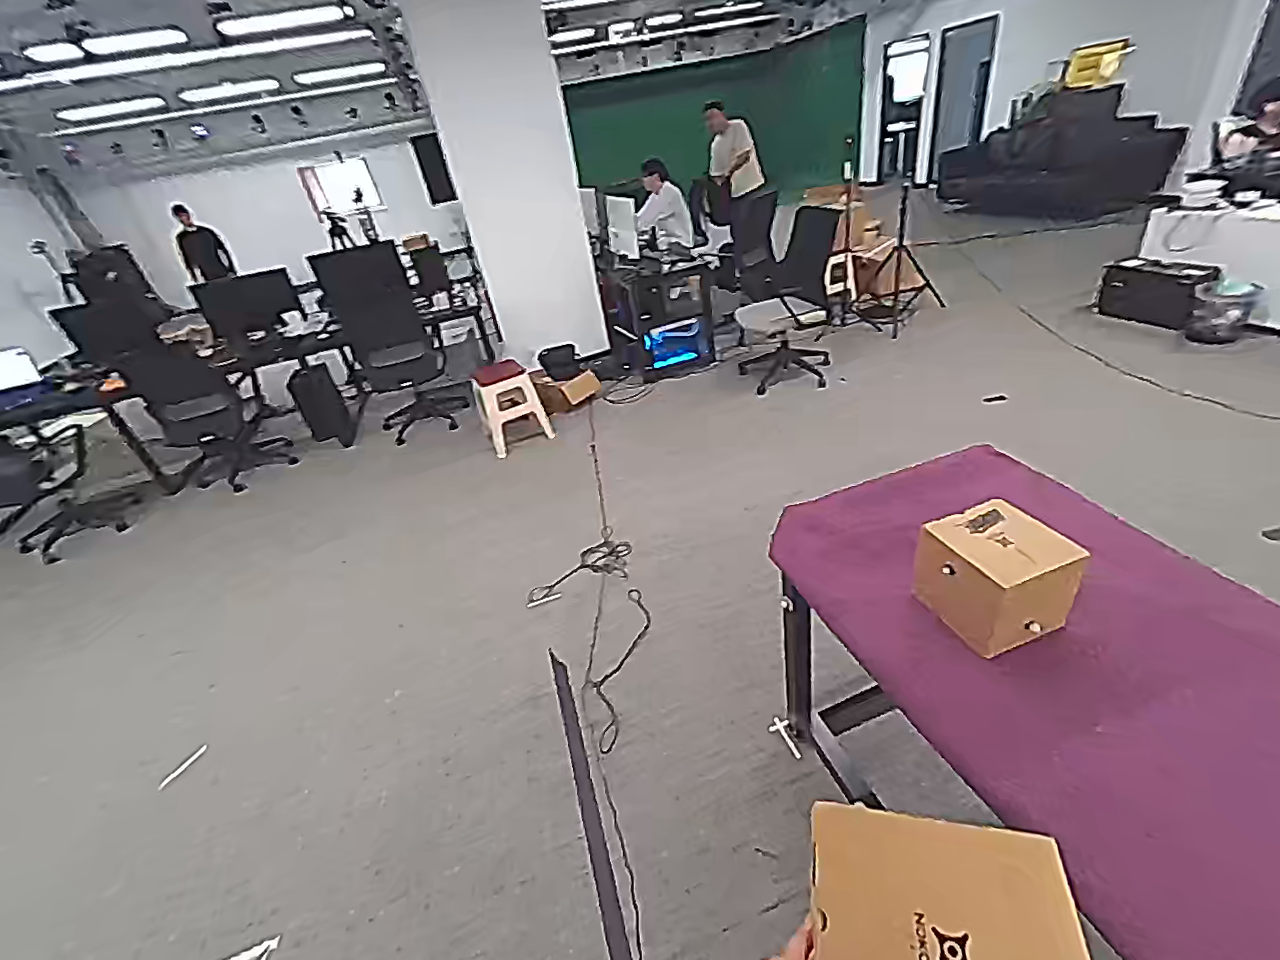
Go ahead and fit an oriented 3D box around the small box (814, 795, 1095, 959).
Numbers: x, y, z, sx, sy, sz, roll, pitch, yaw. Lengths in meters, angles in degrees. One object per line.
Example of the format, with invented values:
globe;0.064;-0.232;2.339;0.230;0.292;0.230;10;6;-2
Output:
small box;0.230;0.380;0.422;0.179;0.176;0.168;-1;40;18

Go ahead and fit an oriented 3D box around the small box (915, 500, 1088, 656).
small box;0.609;0.167;0.938;0.168;0.176;0.179;-18;34;-10
